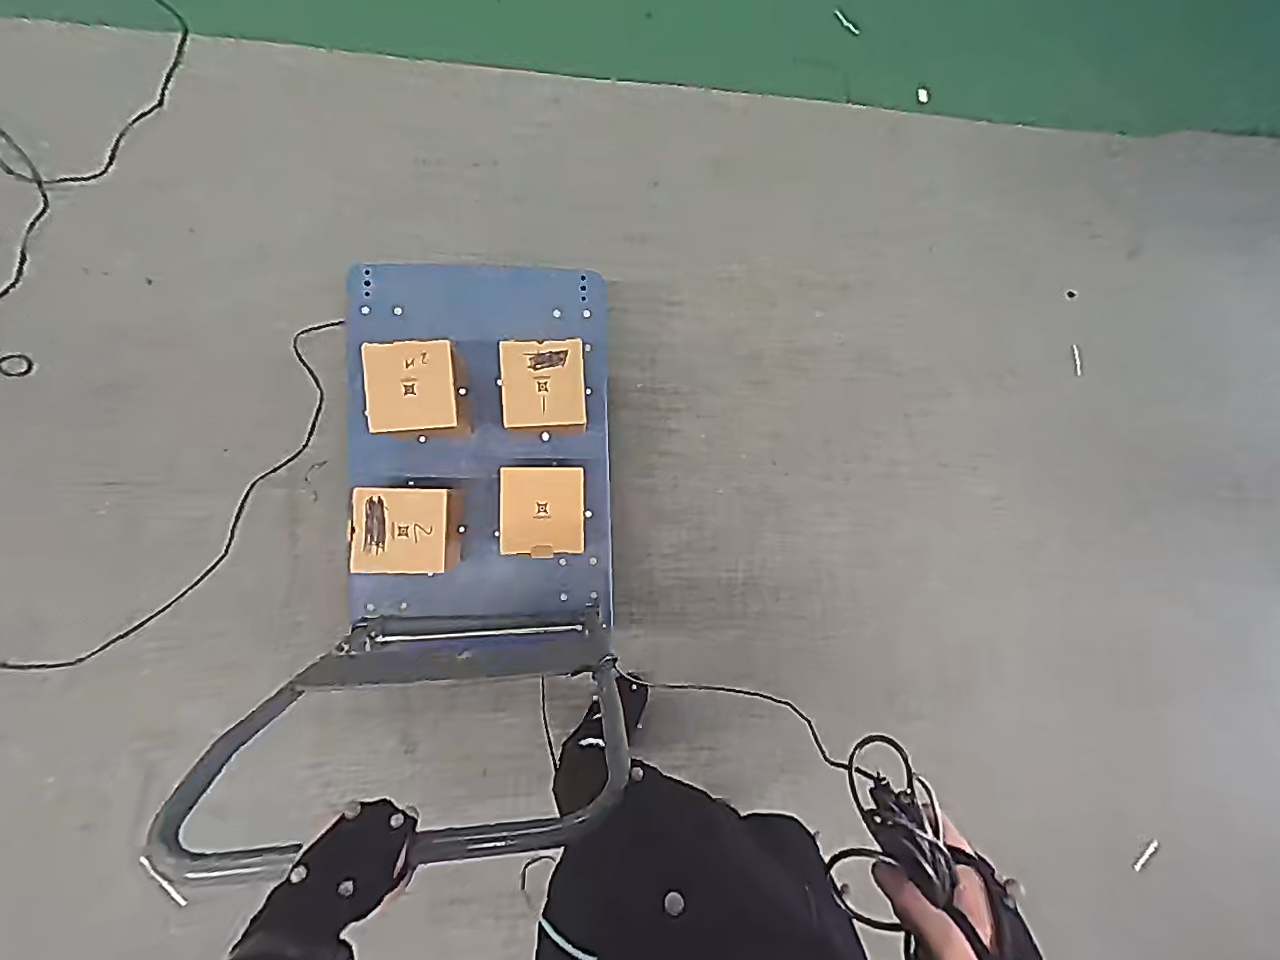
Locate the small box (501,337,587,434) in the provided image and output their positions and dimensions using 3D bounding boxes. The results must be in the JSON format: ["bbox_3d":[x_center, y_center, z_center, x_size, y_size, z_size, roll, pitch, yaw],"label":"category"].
[{"bbox_3d":[-0.203,-0.196,1.154,0.168,0.176,0.179,-3,90,-7],"label":"small box"}]

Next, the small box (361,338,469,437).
[{"bbox_3d":[-0.456,-0.183,1.120,0.168,0.176,0.179,-5,90,-8],"label":"small box"}]
